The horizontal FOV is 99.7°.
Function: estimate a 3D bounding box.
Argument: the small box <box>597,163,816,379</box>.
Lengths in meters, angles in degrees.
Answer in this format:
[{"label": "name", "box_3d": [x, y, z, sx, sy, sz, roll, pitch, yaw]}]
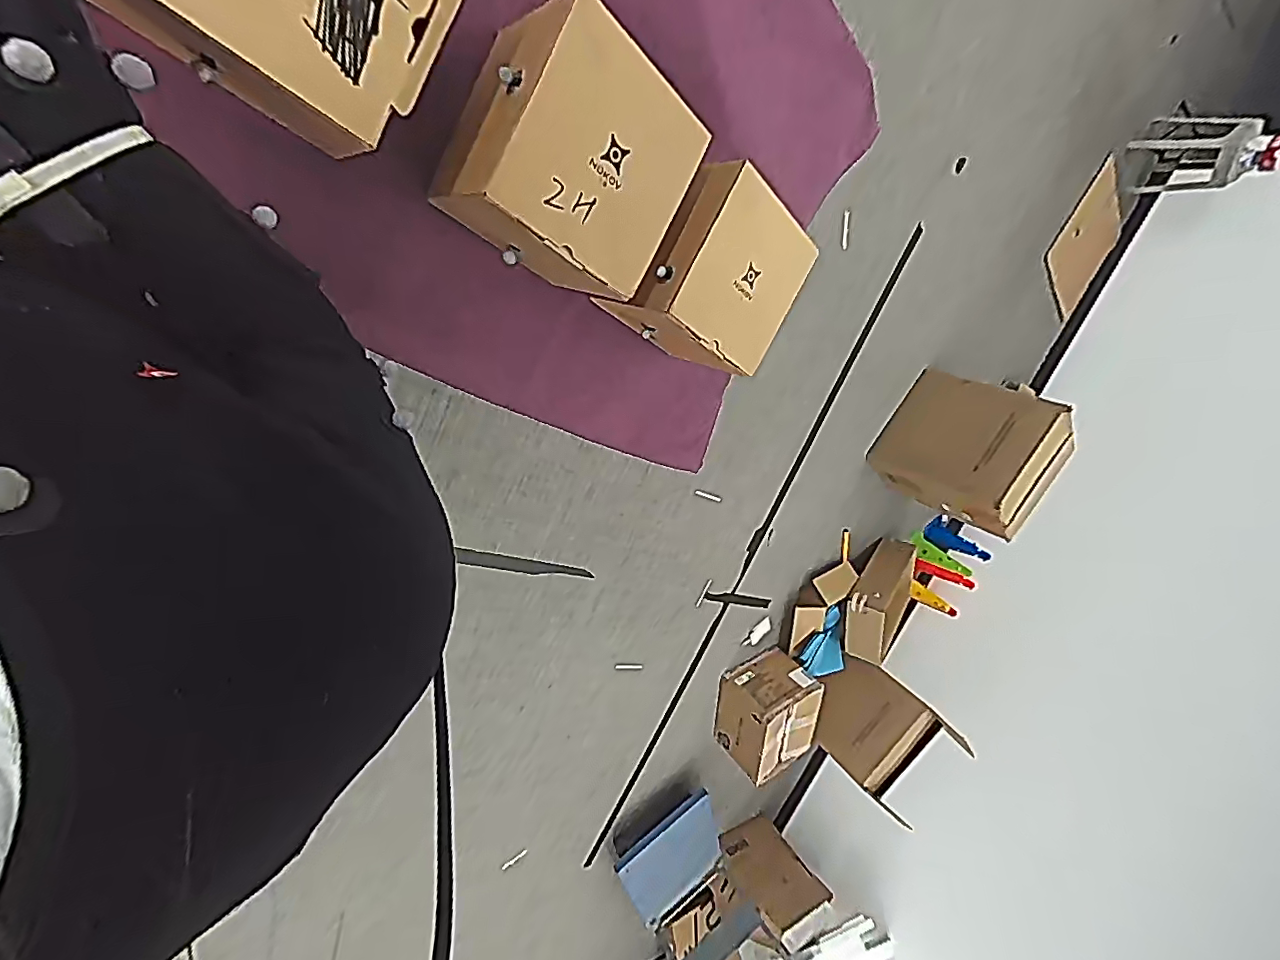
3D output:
[{"label": "small box", "box_3d": [0.075, -0.254, 0.666, 0.168, 0.176, 0.179, 23, 97, -42]}]

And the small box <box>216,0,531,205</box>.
[{"label": "small box", "box_3d": [-0.197, -0.338, 0.391, 0.179, 0.176, 0.168, -2, 154, -33]}]
